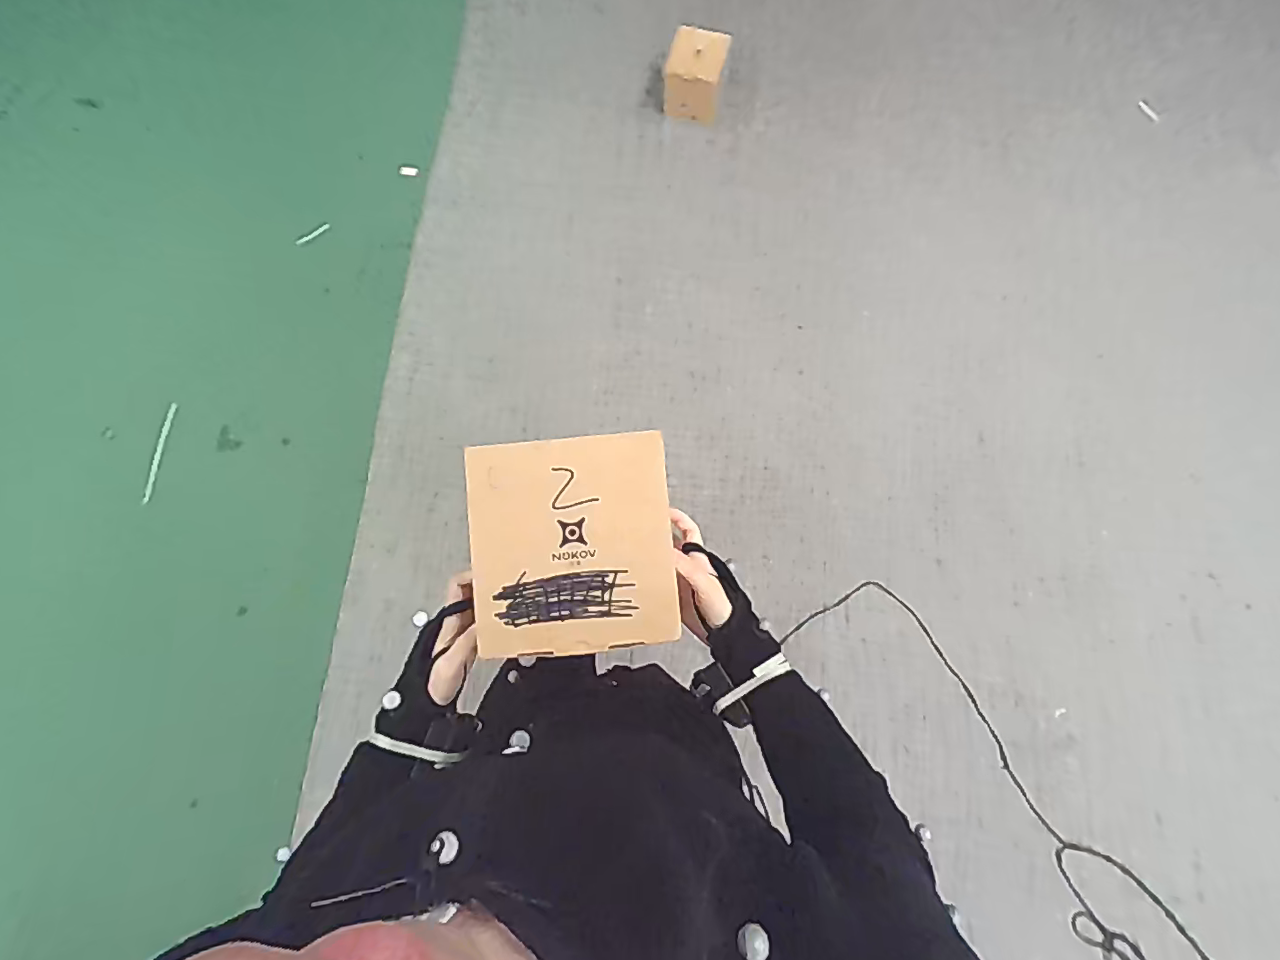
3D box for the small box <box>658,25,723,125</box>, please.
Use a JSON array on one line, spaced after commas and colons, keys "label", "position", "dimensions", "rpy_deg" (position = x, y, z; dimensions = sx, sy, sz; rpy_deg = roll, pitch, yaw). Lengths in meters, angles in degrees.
[{"label": "small box", "position": [0.155, -1.287, 1.724], "dimensions": [0.168, 0.176, 0.179], "rpy_deg": [16, 80, 5]}]
